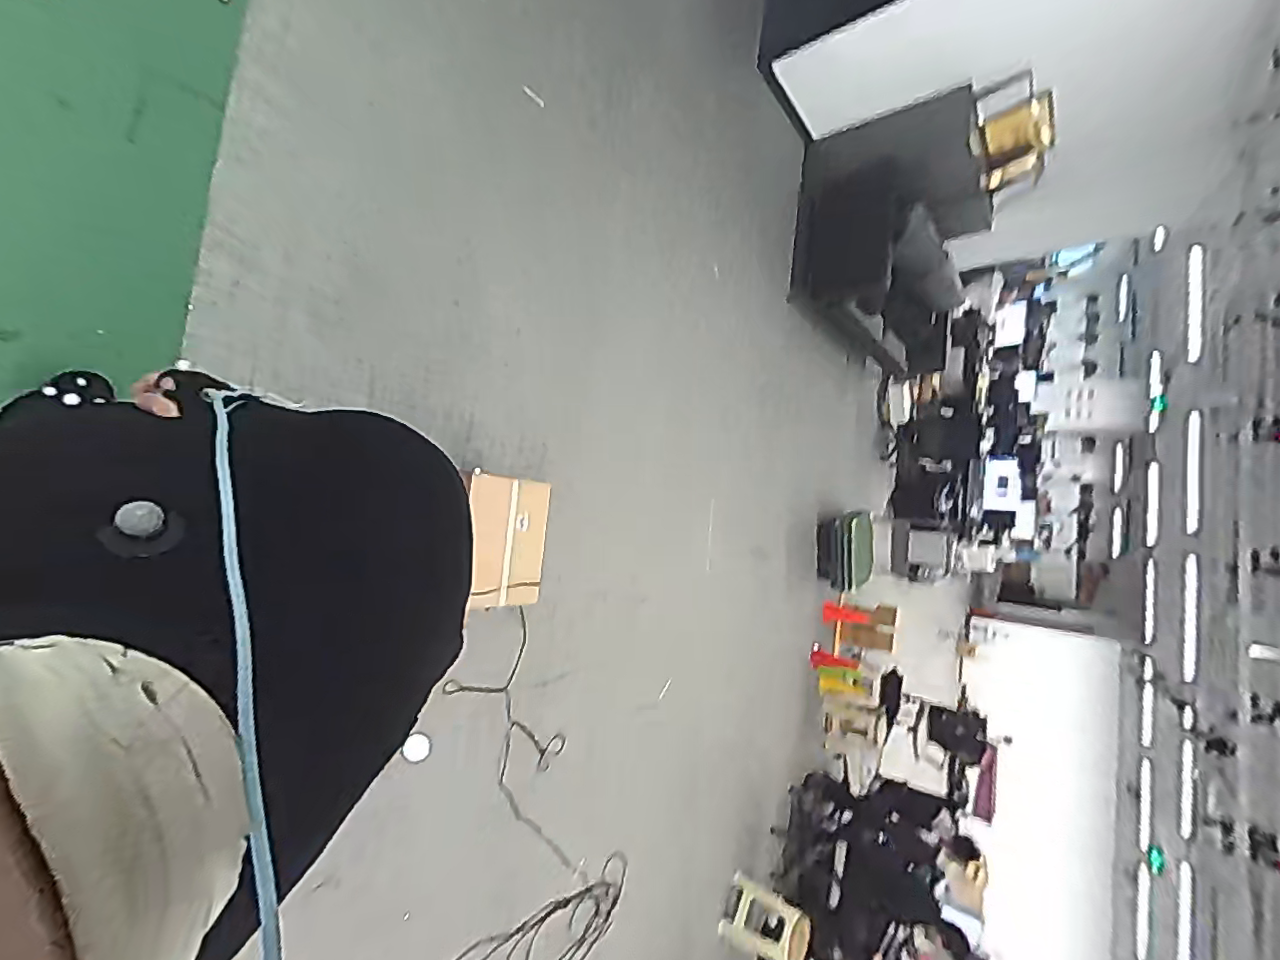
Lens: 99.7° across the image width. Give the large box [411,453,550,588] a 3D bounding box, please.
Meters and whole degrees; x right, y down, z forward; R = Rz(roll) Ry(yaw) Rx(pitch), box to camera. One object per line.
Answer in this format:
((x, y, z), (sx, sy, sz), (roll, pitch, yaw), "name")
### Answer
((-0.527, 0.130, 1.789), (0.320, 0.320, 0.408), (9, 84, -51), "large box")
